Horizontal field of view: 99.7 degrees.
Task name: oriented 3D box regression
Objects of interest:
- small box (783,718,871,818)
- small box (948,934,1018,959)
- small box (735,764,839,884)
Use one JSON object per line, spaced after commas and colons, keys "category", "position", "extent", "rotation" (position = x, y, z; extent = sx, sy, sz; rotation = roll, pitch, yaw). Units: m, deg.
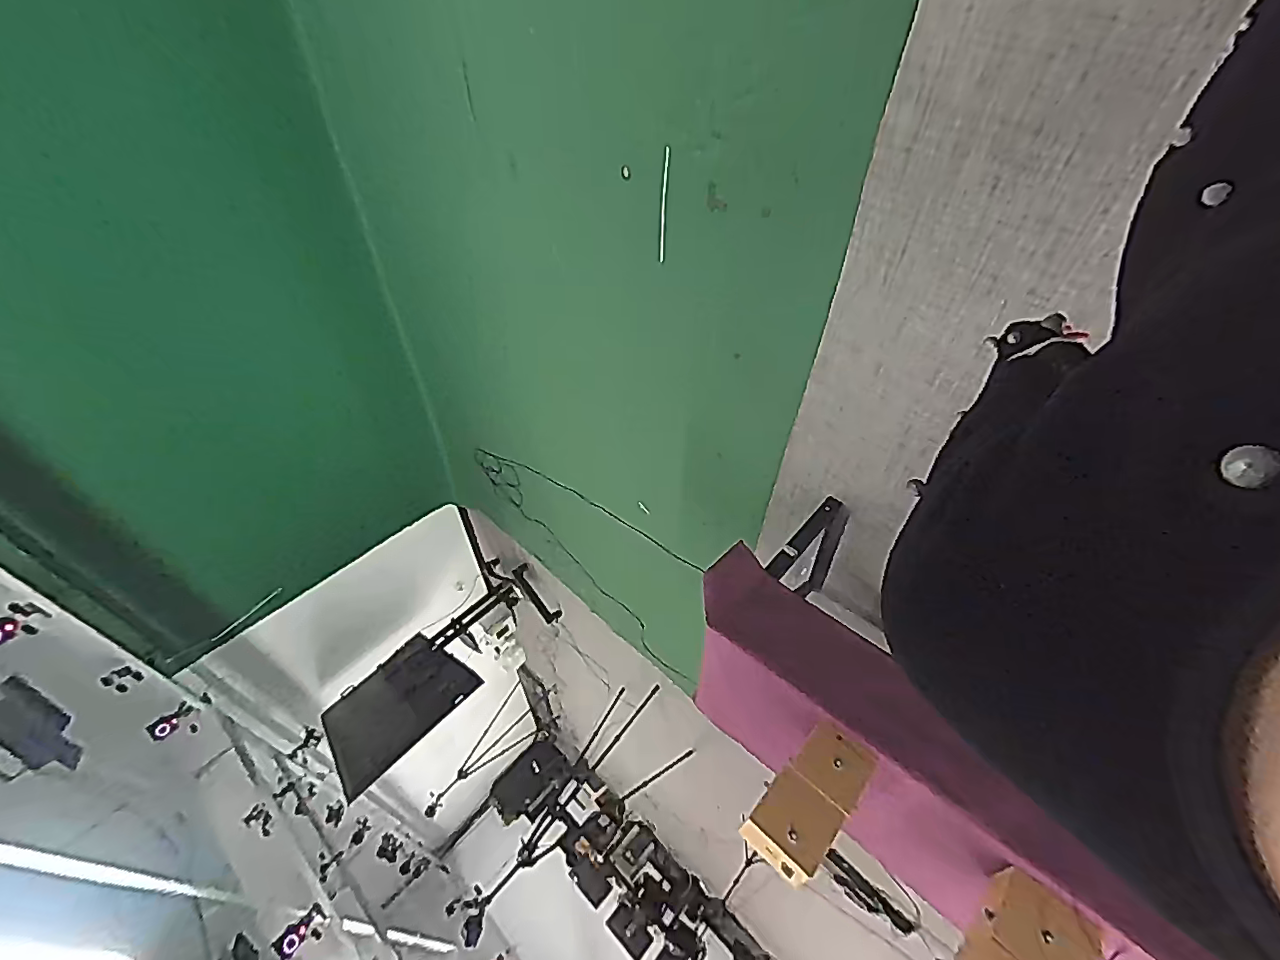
{"category": "small box", "position": [0.483, 0.769, 1.430], "extent": [0.168, 0.176, 0.179], "rotation": [35, 145, 27]}
{"category": "small box", "position": [0.736, 1.095, 1.121], "extent": [0.168, 0.176, 0.179], "rotation": [32, 143, 29]}
{"category": "small box", "position": [0.366, 0.855, 1.350], "extent": [0.179, 0.176, 0.168], "rotation": [35, 145, 26]}
